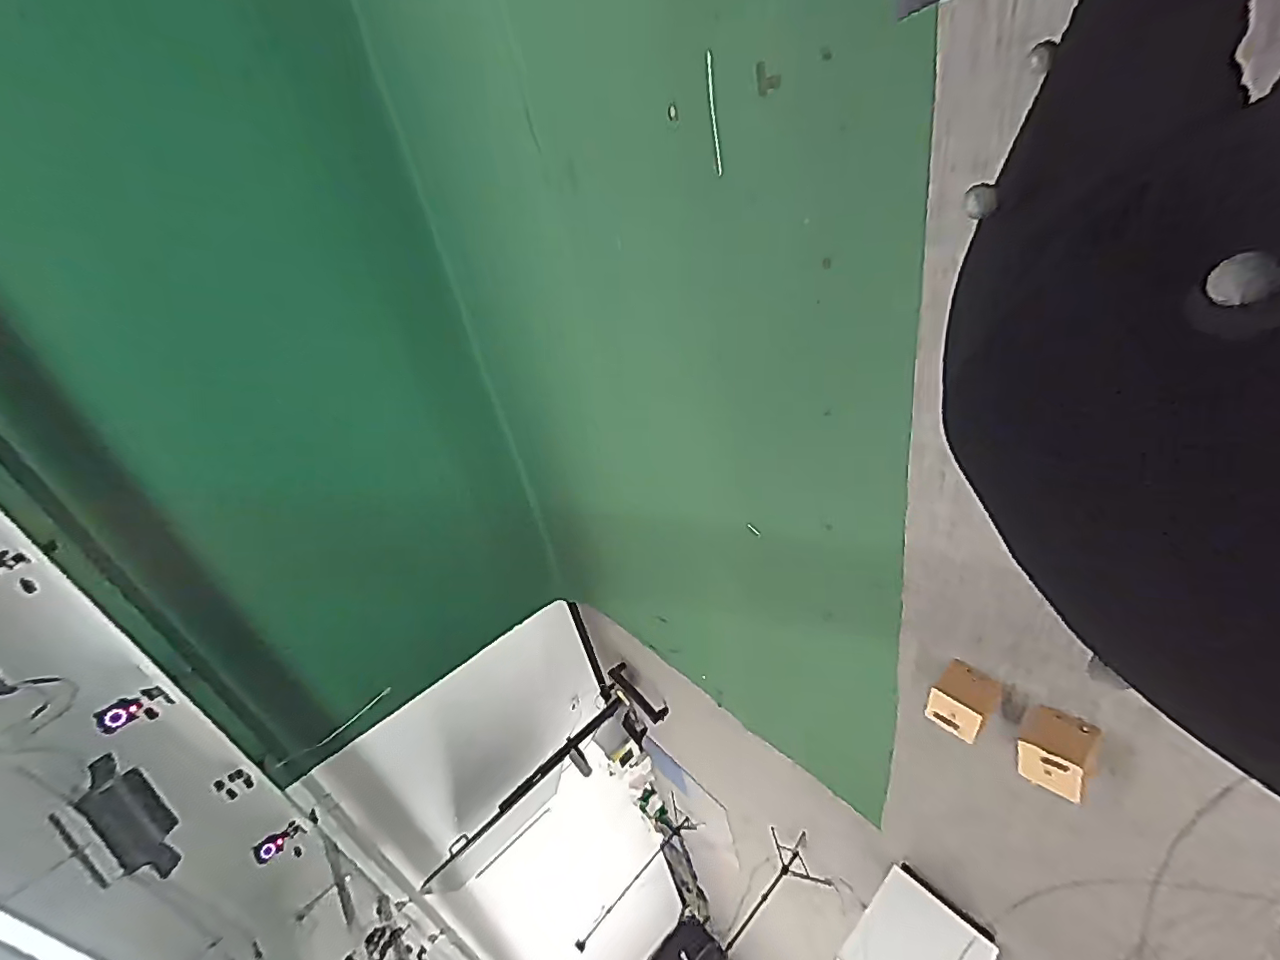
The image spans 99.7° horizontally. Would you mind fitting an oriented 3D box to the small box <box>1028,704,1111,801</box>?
[{"bbox_3d":[1.346,0.846,1.696,0.168,0.176,0.179,15,131,52],"label":"small box"}]
